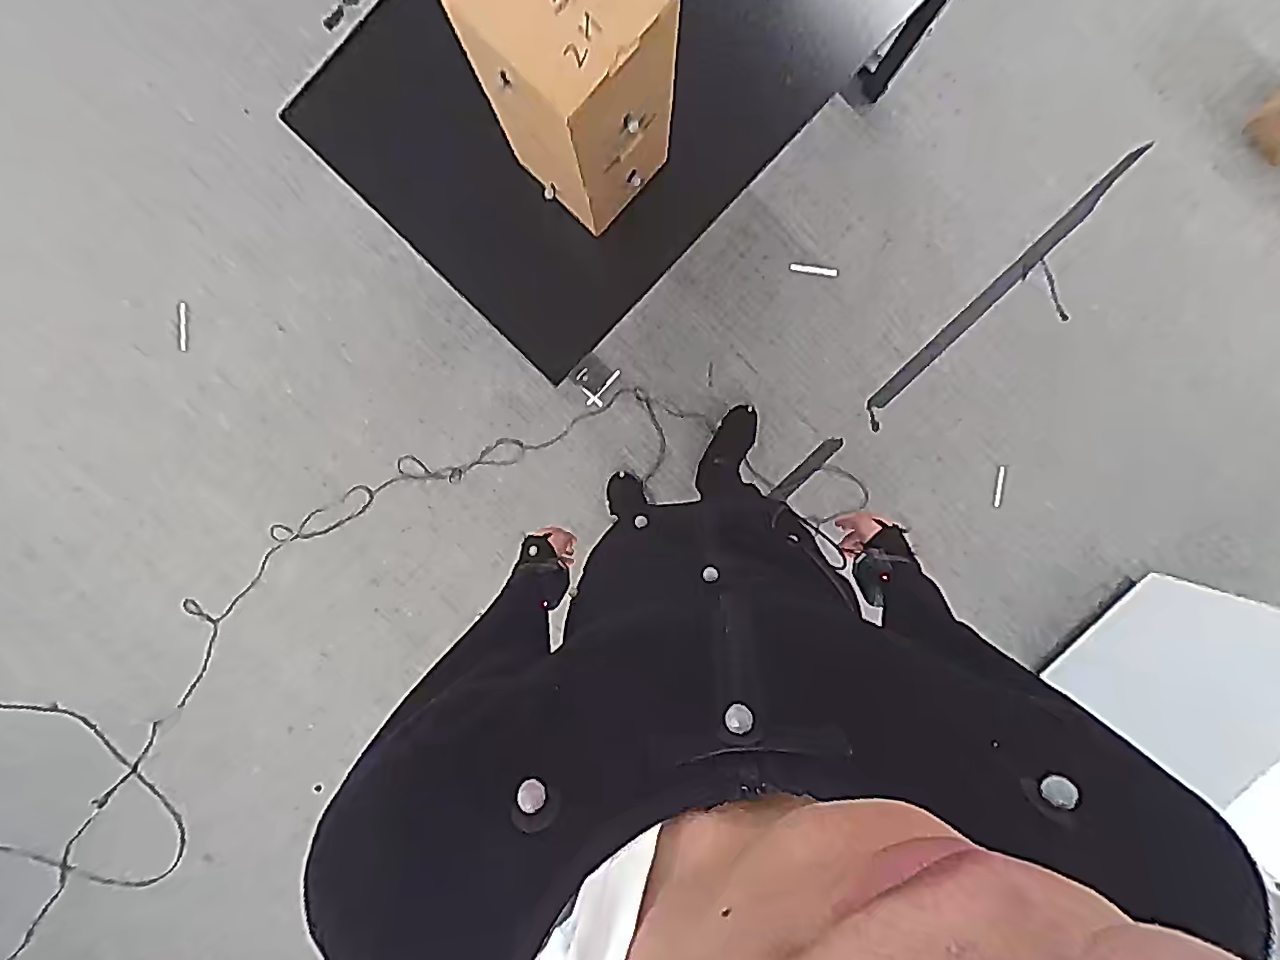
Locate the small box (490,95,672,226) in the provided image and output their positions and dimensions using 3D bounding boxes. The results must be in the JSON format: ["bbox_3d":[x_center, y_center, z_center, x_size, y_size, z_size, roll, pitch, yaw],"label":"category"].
[{"bbox_3d":[-0.075,-0.492,0.765,0.179,0.176,0.168,43,94,-4],"label":"small box"}]

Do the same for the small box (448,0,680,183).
[{"bbox_3d":[-0.076,-0.478,0.601,0.179,0.176,0.168,43,95,-4],"label":"small box"}]
